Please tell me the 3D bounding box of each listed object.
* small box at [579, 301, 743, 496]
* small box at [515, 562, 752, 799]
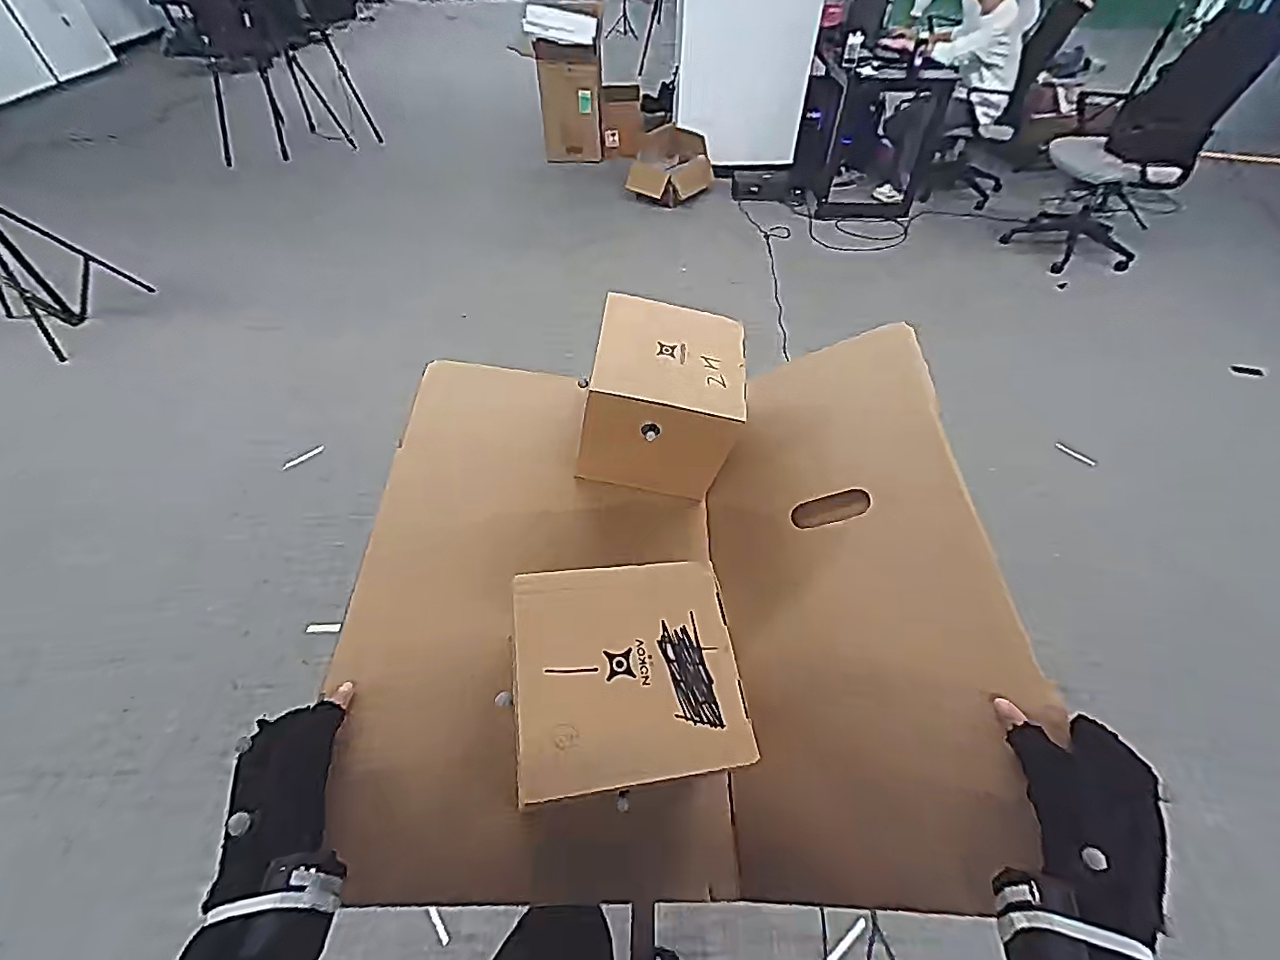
[{"bbox_3d":[0.022,-0.097,0.699,0.179,0.176,0.168,12,56,-6],"label":"small box"},{"bbox_3d":[-0.023,0.188,0.501,0.179,0.176,0.168,-2,58,-14],"label":"small box"}]
